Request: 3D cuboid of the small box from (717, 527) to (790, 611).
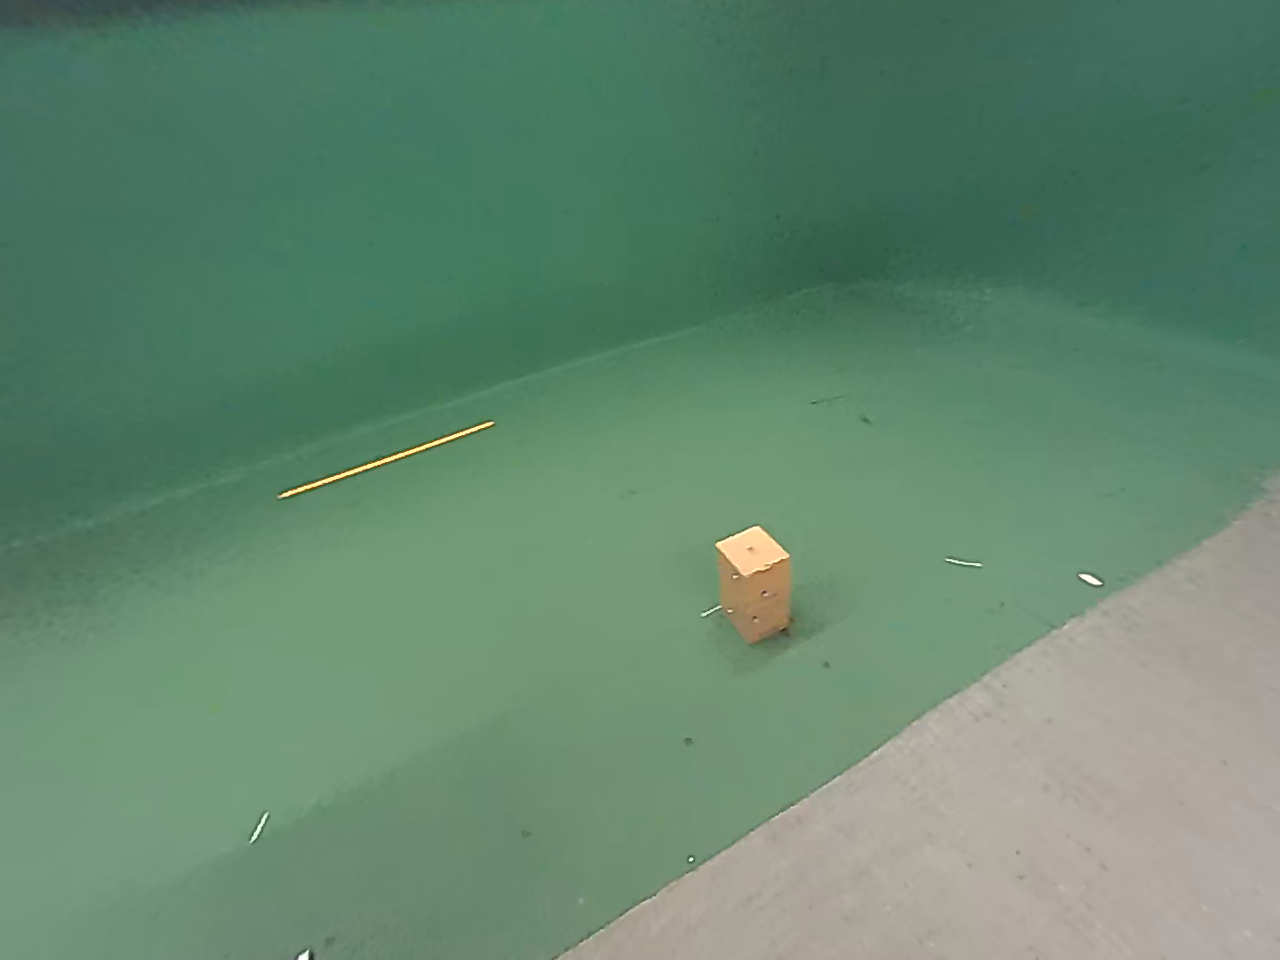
[{"bbox_3d":[0.362,0.287,1.743,0.168,0.176,0.179,-21,36,-15],"label":"small box"}]
